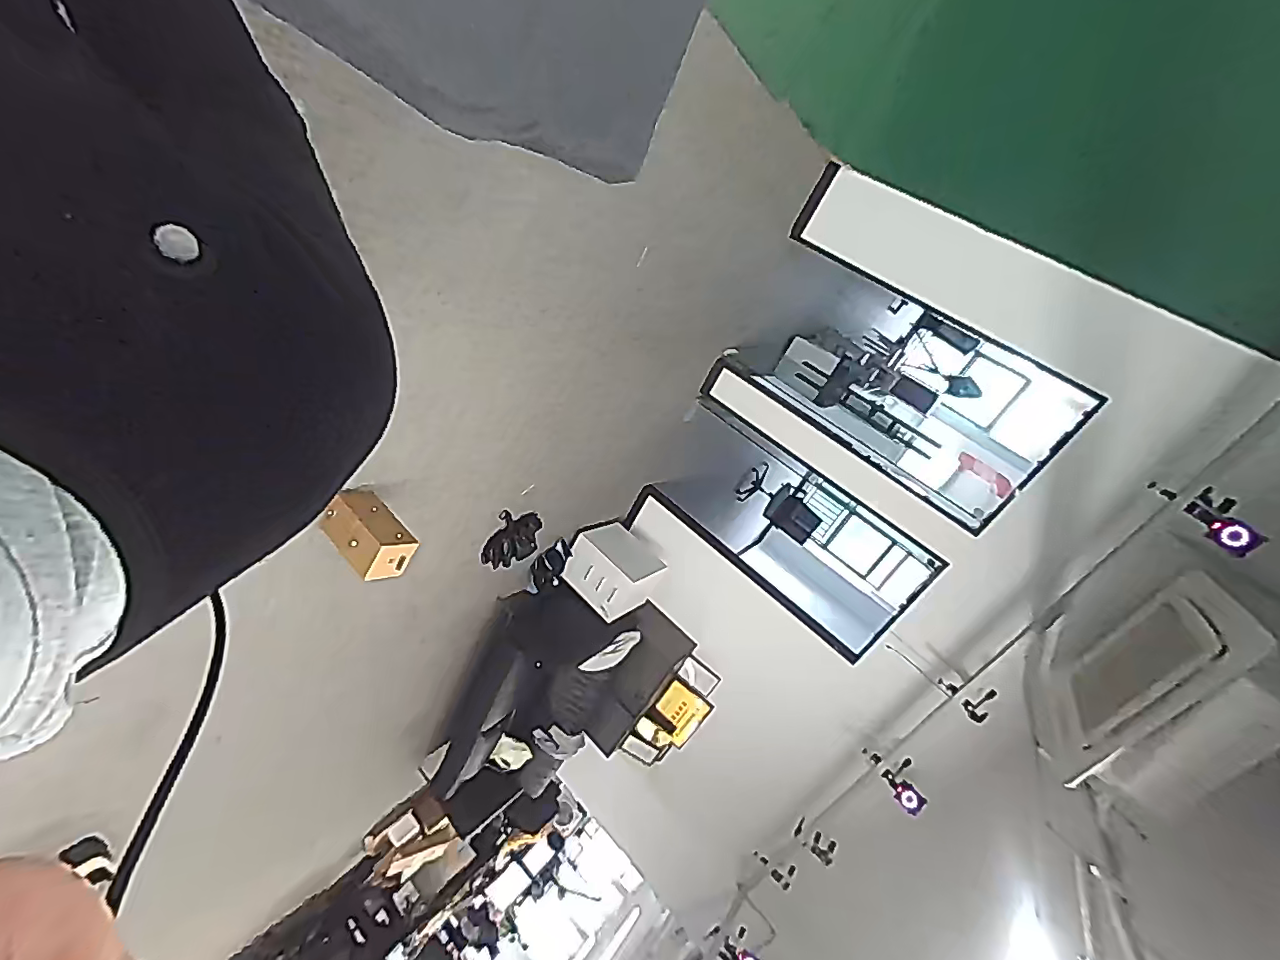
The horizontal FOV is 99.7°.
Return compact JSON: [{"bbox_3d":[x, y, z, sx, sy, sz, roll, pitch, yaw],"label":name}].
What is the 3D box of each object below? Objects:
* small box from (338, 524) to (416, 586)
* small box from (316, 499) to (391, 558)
[{"bbox_3d":[-1.016,0.283,2.087,0.168,0.176,0.179,-58,158,12],"label":"small box"},{"bbox_3d":[-1.138,0.188,2.145,0.168,0.176,0.179,-59,158,14],"label":"small box"}]
